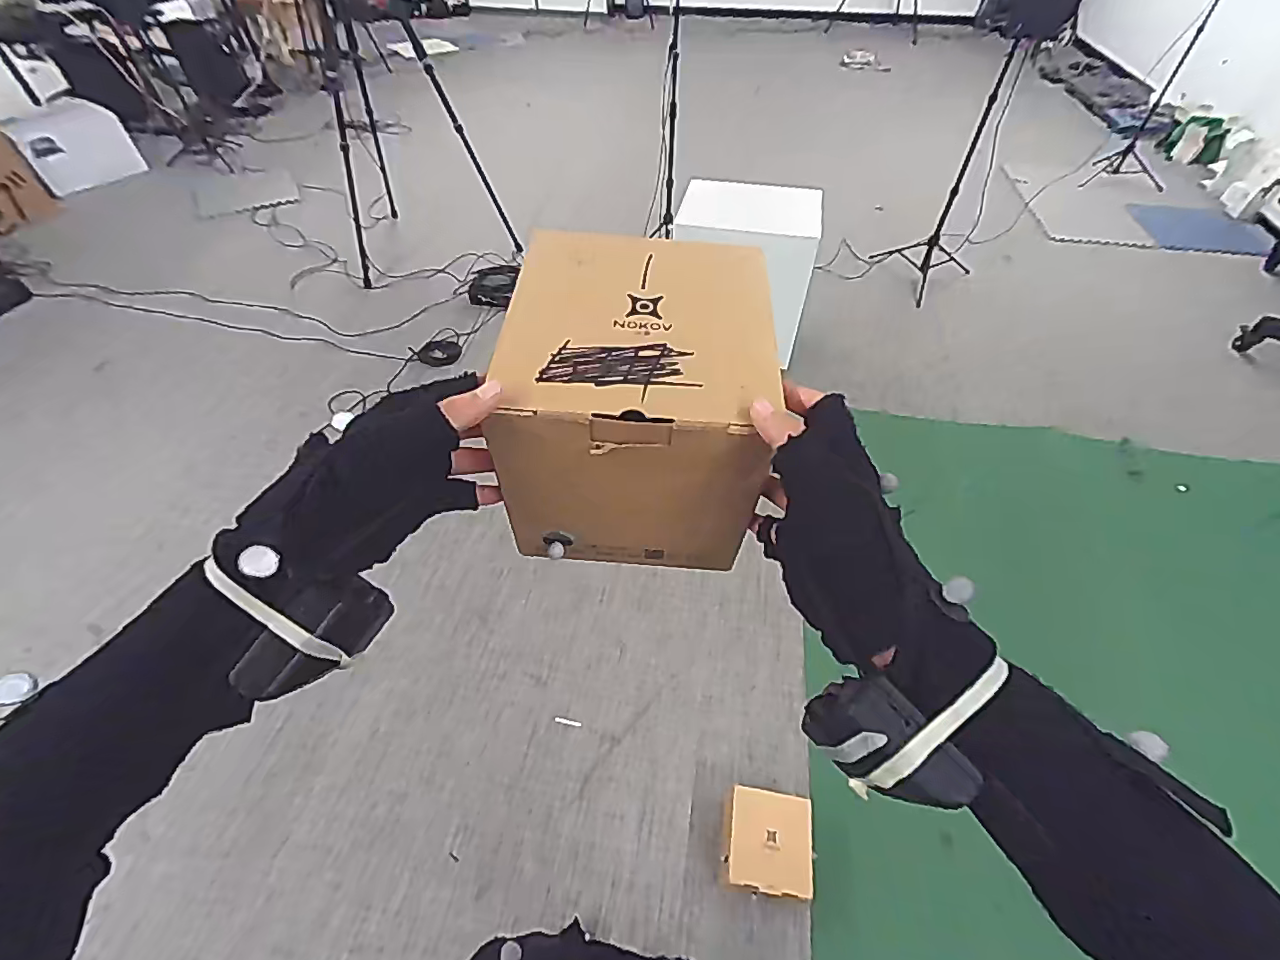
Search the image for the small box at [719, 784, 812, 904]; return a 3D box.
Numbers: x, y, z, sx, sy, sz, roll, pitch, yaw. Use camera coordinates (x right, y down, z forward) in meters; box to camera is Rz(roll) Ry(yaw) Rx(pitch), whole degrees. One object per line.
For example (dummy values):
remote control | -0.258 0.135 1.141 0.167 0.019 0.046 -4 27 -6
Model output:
small box | 0.265 0.783 1.162 0.168 0.176 0.179 8 50 7
